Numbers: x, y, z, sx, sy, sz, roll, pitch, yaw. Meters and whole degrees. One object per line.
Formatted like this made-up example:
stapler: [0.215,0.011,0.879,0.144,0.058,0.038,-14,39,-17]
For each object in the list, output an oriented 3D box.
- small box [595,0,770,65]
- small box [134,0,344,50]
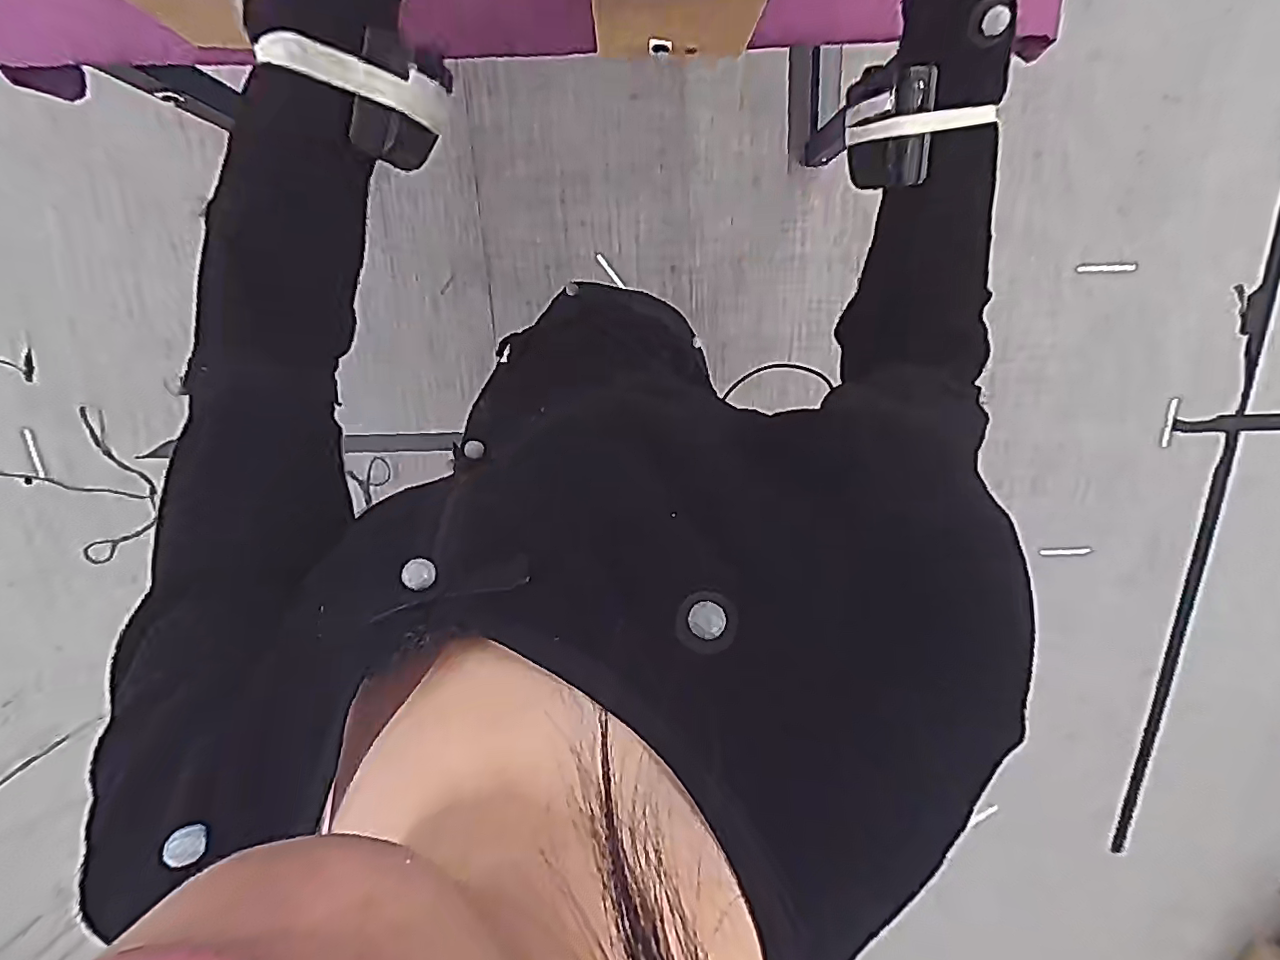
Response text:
small box: [0.037,-0.537,0.518,0.168,0.176,0.179,-1,108,0]
small box: [-0.400,-0.536,0.503,0.179,0.176,0.168,2,106,-2]
